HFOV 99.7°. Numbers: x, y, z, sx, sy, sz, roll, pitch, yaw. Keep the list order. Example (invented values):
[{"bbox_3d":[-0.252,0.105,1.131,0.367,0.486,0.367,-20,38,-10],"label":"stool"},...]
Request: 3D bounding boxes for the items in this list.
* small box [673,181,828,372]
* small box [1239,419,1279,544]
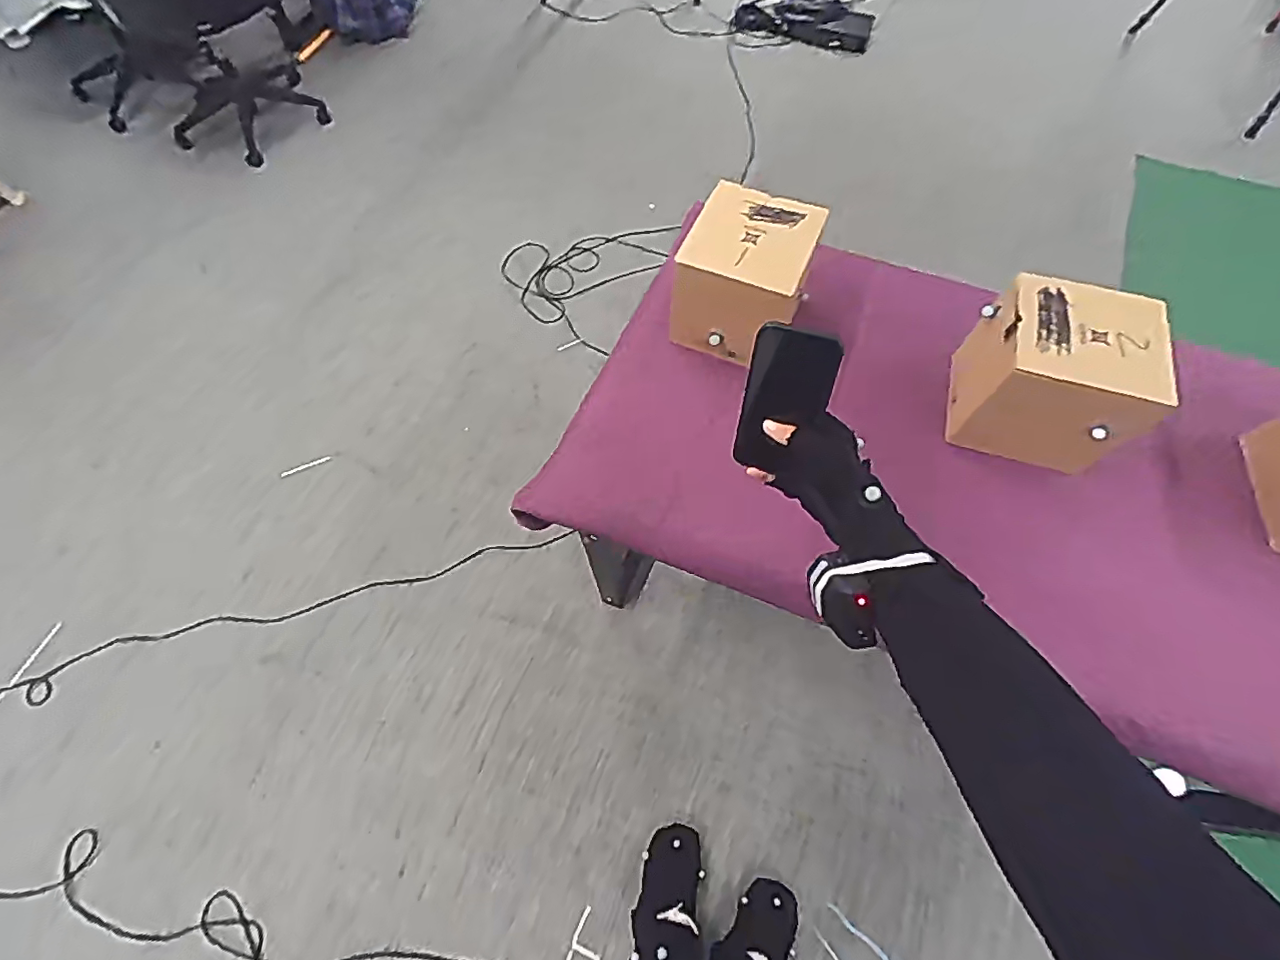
[{"bbox_3d":[0.152,-0.296,0.801,0.168,0.176,0.179,22,68,12],"label":"small box"},{"bbox_3d":[0.895,0.000,0.643,0.168,0.176,0.179,11,64,7],"label":"small box"}]
